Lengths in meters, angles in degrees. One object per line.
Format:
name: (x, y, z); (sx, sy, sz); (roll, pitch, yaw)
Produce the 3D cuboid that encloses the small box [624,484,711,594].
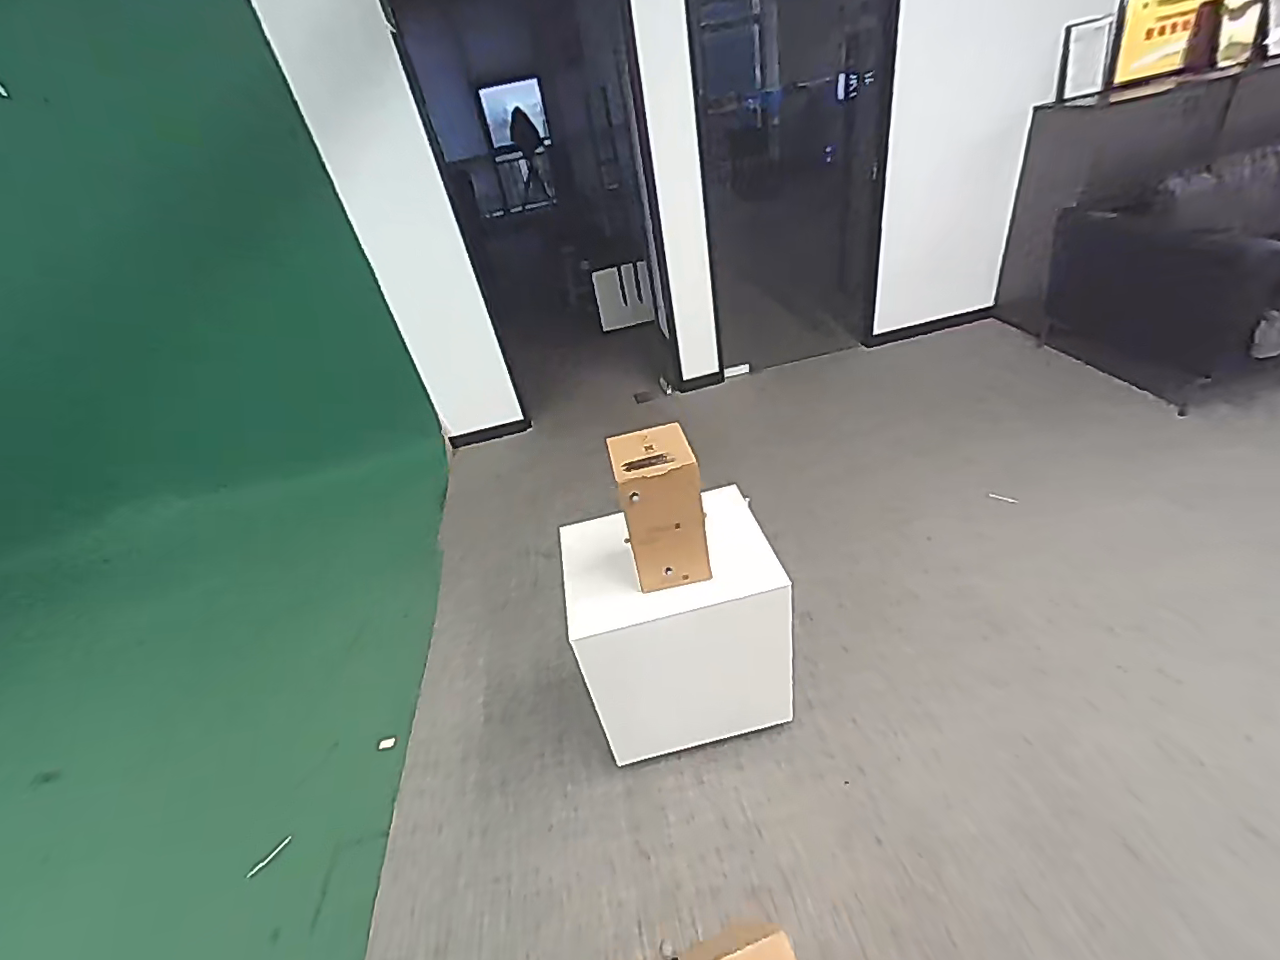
small box: (0.063, 0.137, 1.262); (0.168, 0.176, 0.179); (-12, 34, -1)
